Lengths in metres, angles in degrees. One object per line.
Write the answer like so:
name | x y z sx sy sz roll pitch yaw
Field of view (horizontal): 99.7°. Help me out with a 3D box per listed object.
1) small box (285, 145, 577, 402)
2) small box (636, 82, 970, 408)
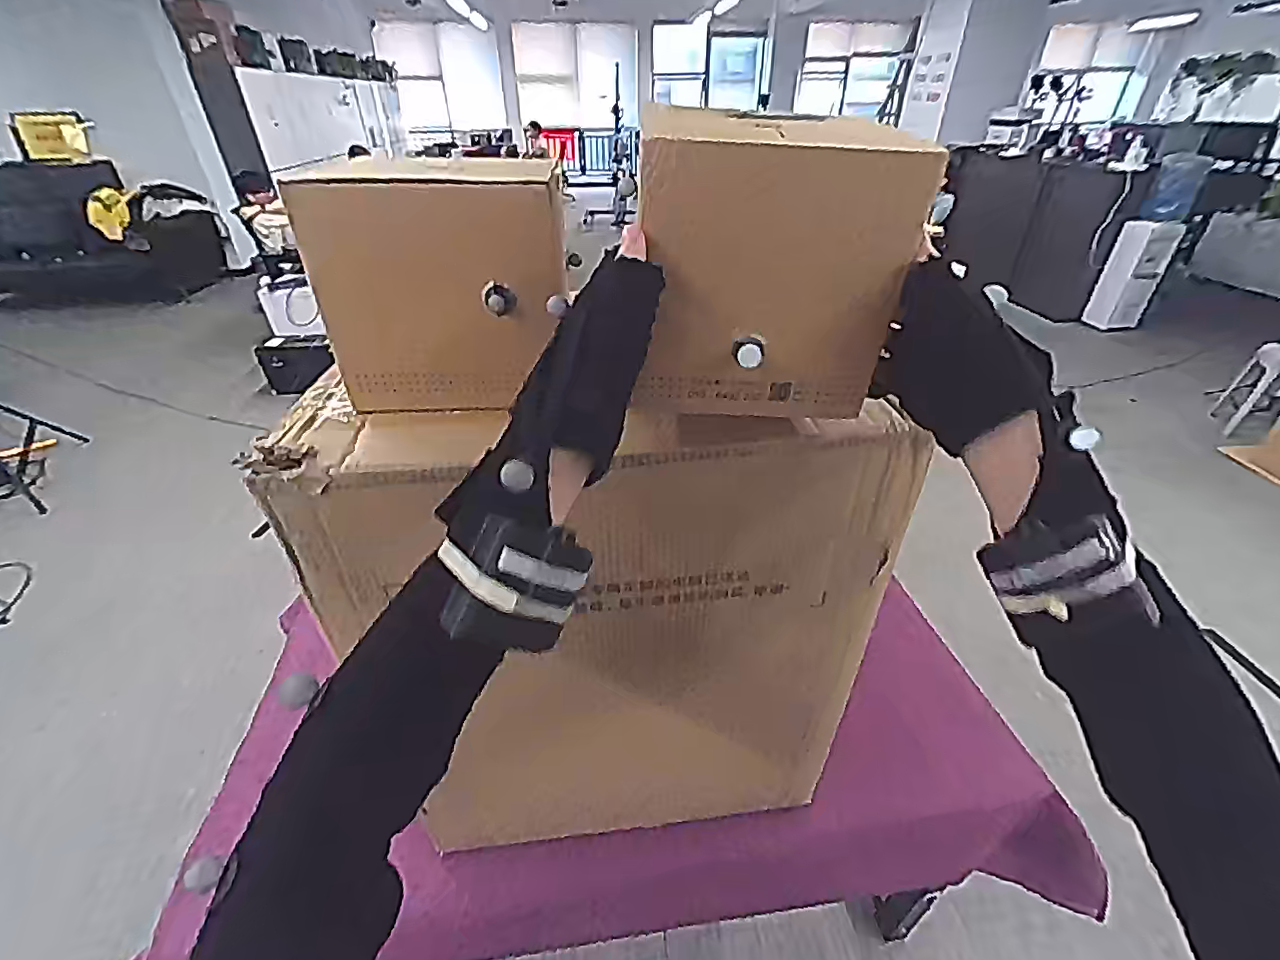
small box | -0.144 -0.175 0.455 0.179 0.176 0.168 -3 34 -4
small box | 0.084 -0.171 0.387 0.168 0.176 0.179 3 39 -1
